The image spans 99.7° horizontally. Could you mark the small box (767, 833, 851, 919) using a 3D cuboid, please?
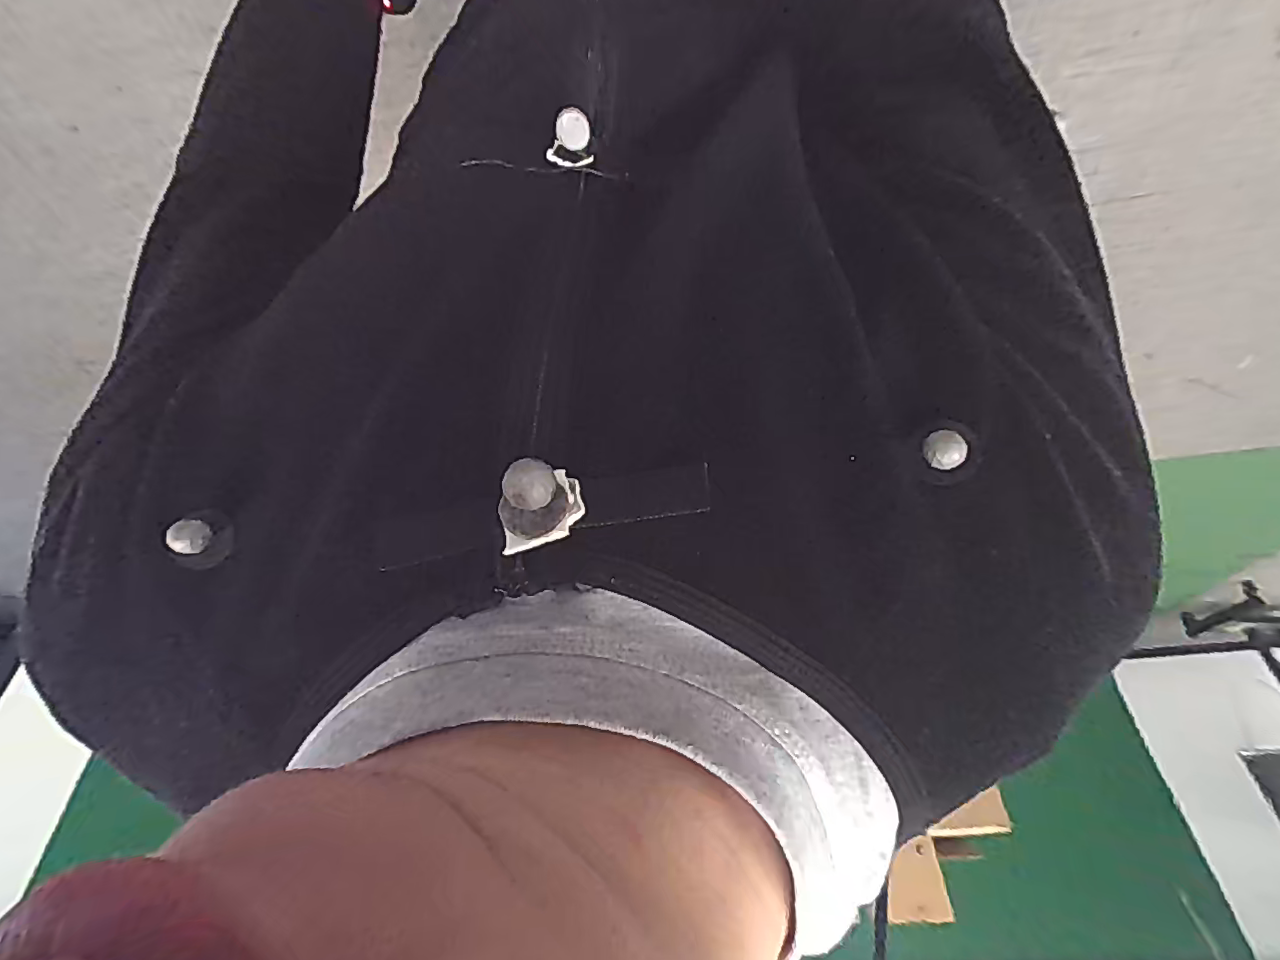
[{"bbox_3d":[0.424,1.012,1.387,0.168,0.176,0.179,-6,144,5],"label":"small box"}]
